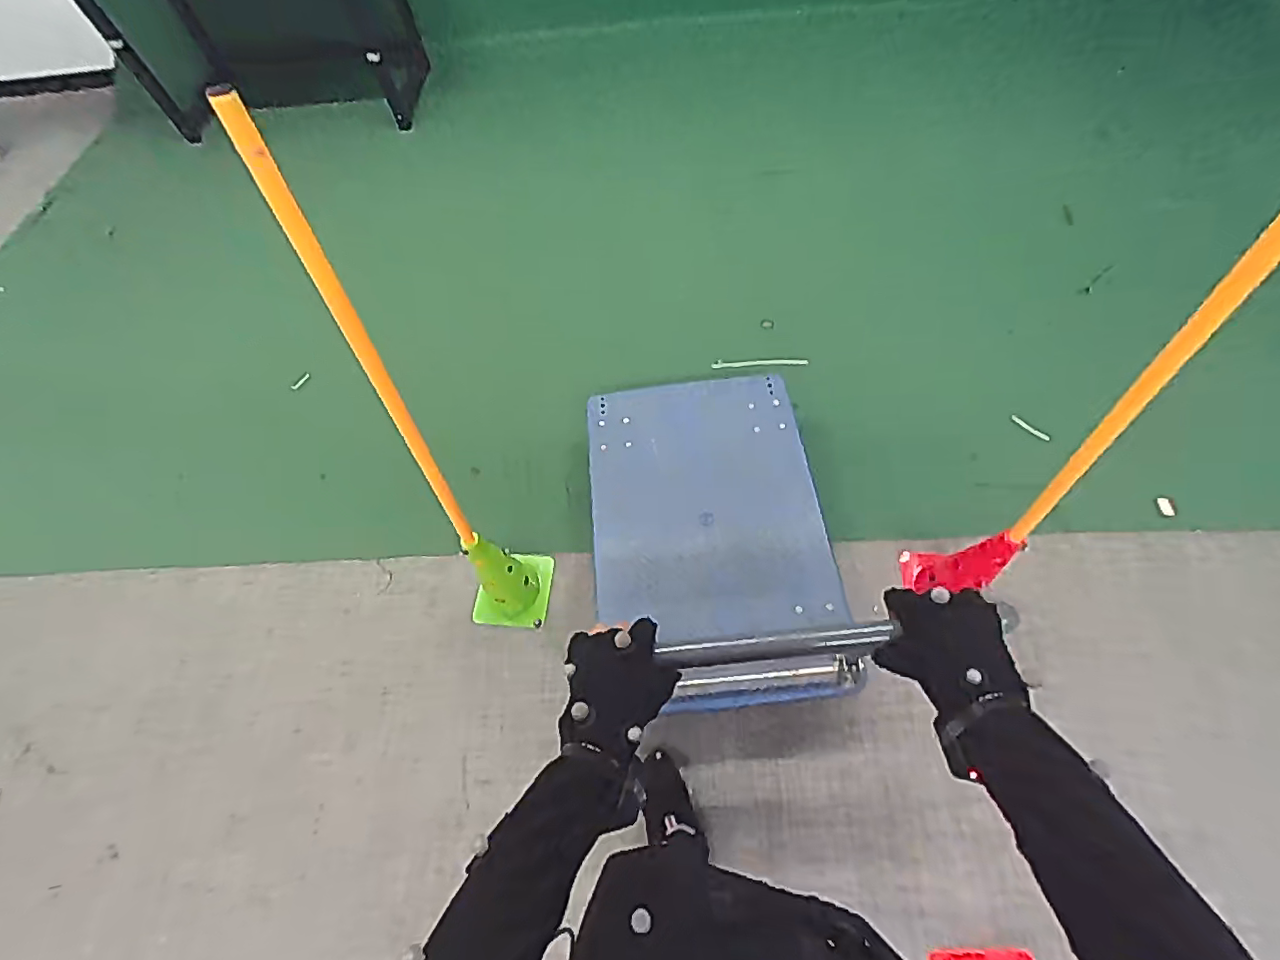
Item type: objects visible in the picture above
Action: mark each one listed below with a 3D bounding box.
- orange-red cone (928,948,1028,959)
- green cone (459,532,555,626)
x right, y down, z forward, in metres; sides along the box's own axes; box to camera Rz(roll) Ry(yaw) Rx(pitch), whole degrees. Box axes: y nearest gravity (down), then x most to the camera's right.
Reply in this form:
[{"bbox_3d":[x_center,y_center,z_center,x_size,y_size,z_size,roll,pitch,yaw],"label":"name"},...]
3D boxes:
[{"bbox_3d":[0.643,0.926,0.867,0.199,0.360,0.198,-3,60,5],"label":"orange-red cone"},{"bbox_3d":[-0.360,0.218,1.353,0.202,0.368,0.200,1,60,7],"label":"green cone"}]
